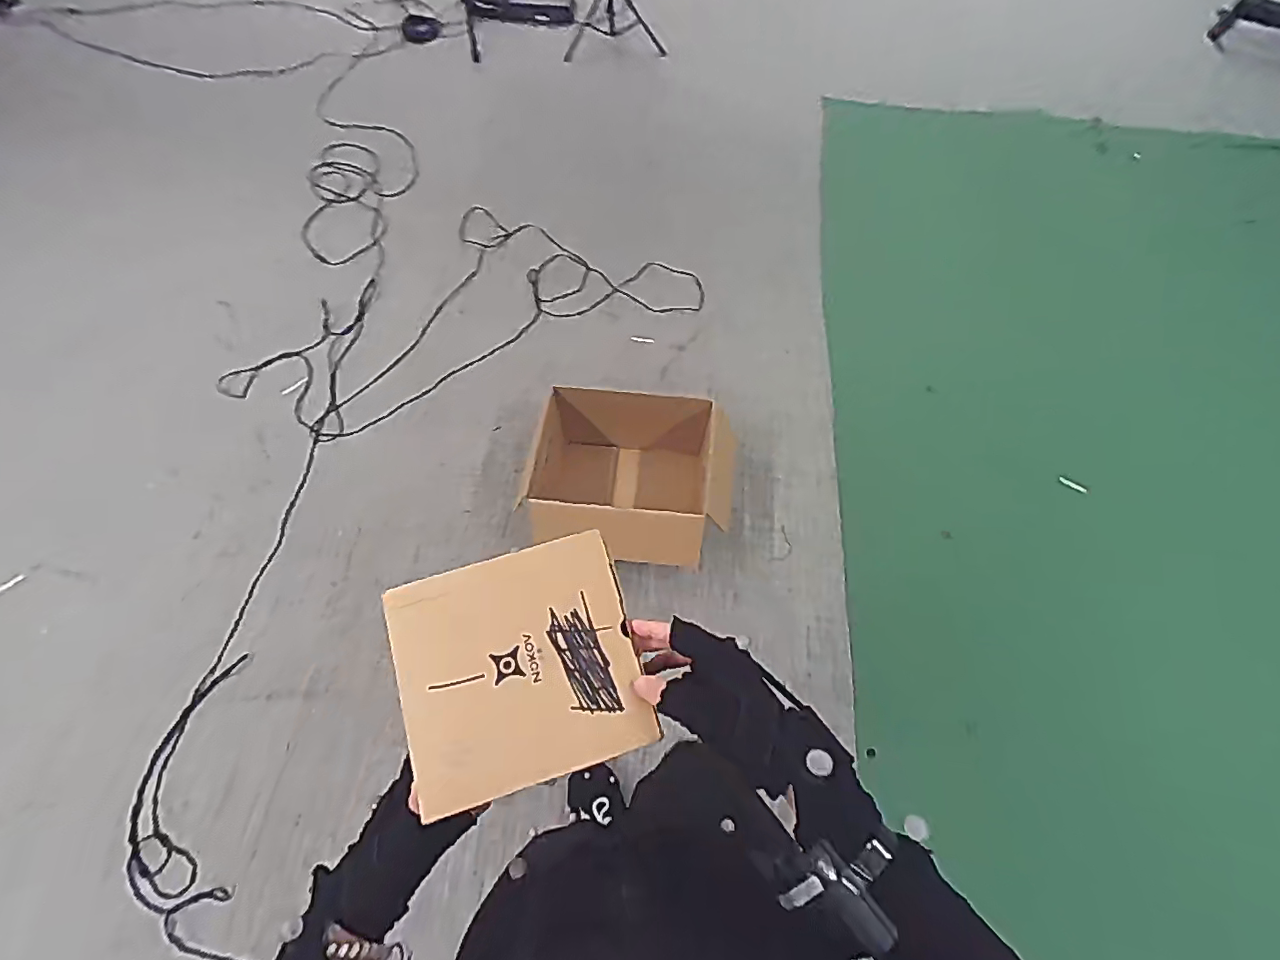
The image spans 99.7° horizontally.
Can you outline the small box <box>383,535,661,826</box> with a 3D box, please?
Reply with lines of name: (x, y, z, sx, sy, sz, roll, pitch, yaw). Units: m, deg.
small box: (-0.092, 0.161, 0.470, 0.179, 0.176, 0.168, -15, 72, -7)
